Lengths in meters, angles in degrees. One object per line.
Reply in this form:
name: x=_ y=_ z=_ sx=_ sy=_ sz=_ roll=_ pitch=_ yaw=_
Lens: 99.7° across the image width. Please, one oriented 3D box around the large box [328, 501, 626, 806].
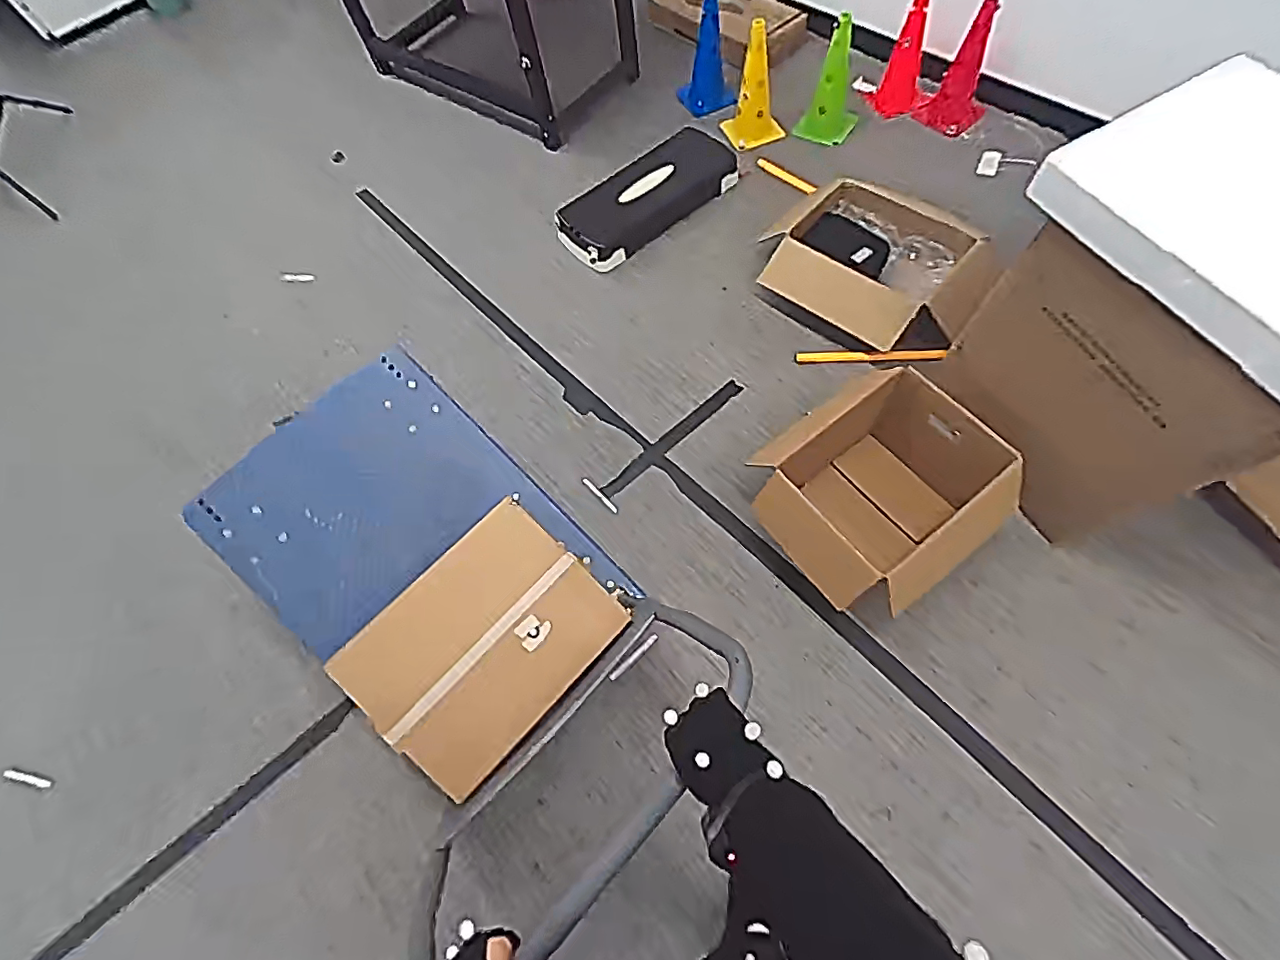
large box: x=-0.288 y=0.310 z=1.051 sx=0.320 sy=0.320 sz=0.408 roll=44 pitch=74 yaw=0
